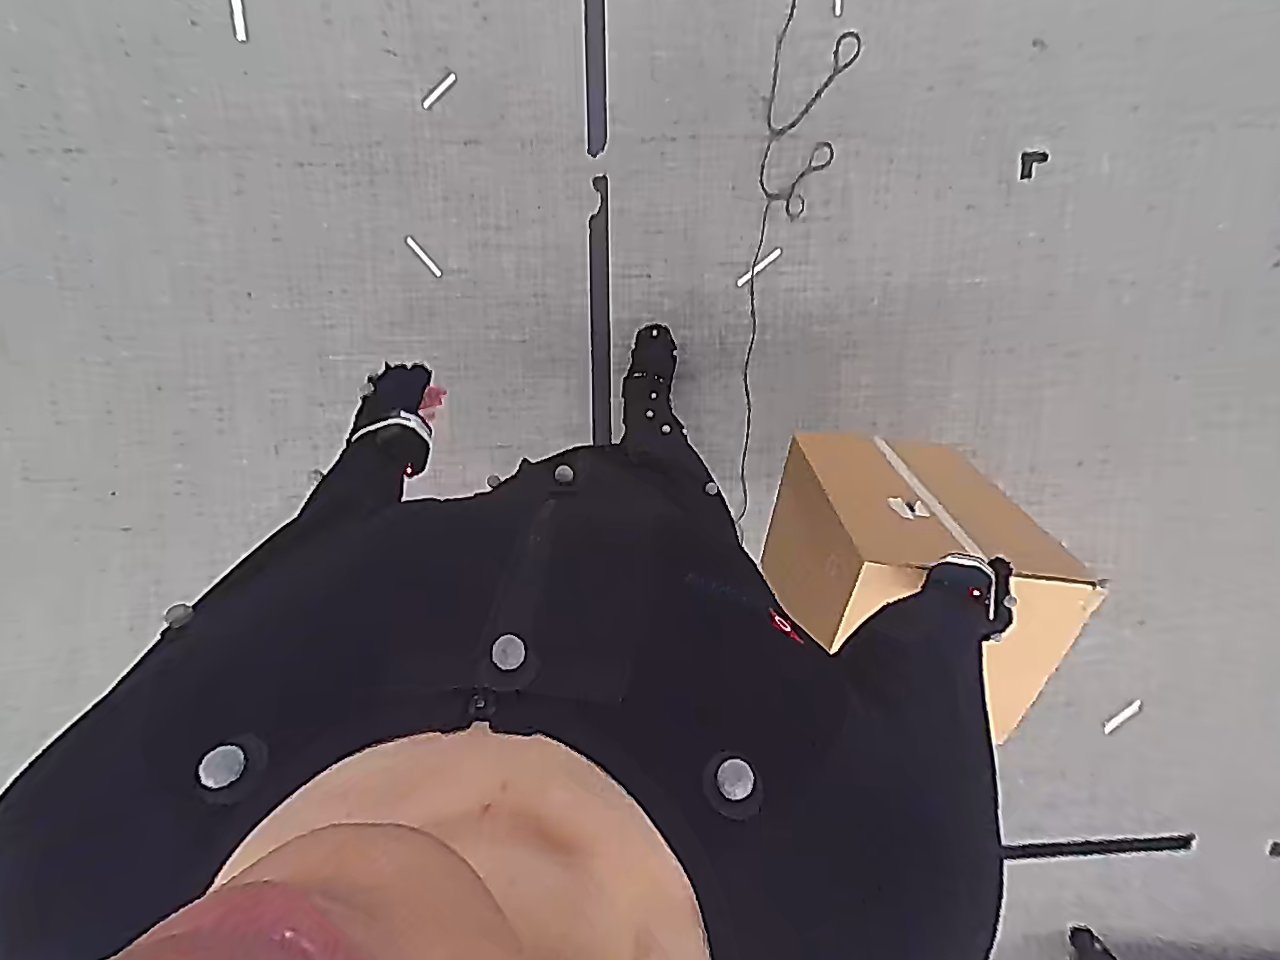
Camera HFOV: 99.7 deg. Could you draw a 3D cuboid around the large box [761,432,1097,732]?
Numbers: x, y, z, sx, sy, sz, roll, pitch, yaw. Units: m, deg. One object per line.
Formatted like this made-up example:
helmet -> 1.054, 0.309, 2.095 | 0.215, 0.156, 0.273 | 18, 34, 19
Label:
large box -> 0.425, 0.151, 0.934 | 0.320, 0.408, 0.320 | 6, 119, -2
